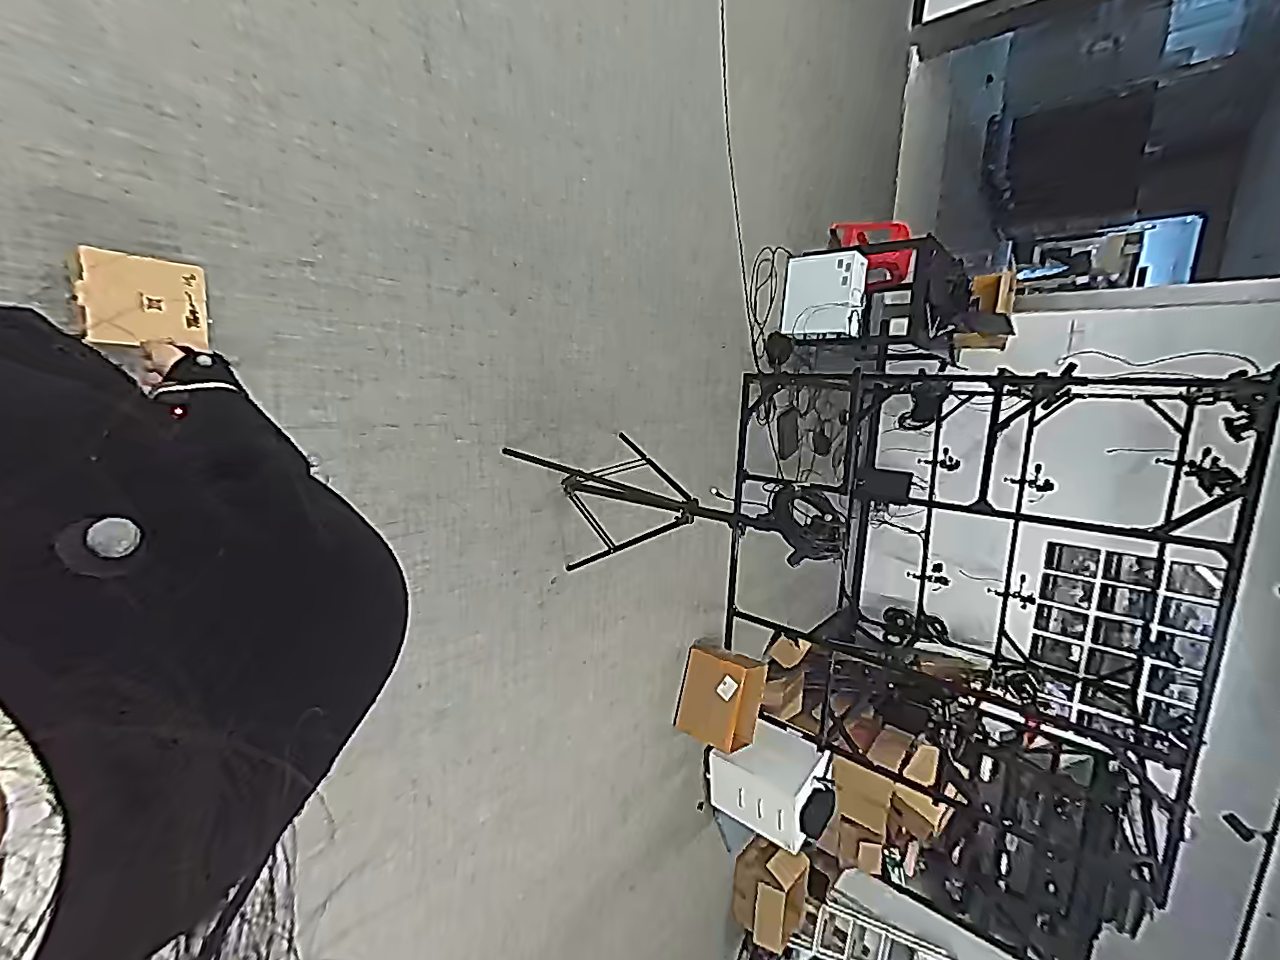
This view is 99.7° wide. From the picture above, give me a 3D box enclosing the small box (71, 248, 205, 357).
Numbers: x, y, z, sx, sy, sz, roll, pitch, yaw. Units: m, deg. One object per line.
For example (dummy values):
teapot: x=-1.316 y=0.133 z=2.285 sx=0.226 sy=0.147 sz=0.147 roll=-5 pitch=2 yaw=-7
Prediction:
small box: x=-0.979 y=-0.334 z=1.054 sx=0.179 sy=0.176 sz=0.168 roll=-5 pitch=102 yaw=-50
